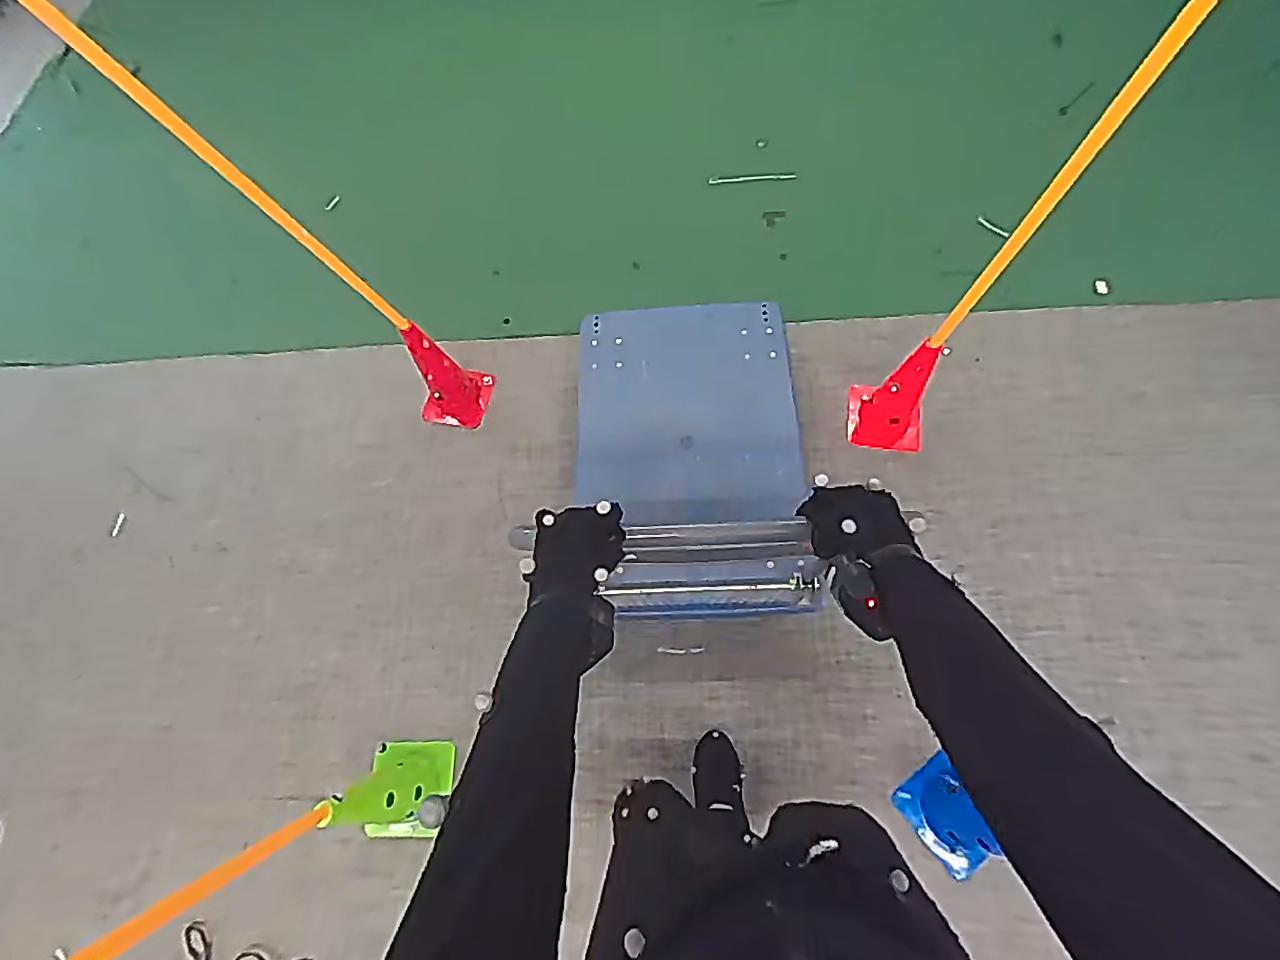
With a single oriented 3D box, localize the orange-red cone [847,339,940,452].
[{"bbox_3d":[0.690,-0.241,1.406,0.198,0.360,0.199,8,69,9],"label":"orange-red cone"}]
